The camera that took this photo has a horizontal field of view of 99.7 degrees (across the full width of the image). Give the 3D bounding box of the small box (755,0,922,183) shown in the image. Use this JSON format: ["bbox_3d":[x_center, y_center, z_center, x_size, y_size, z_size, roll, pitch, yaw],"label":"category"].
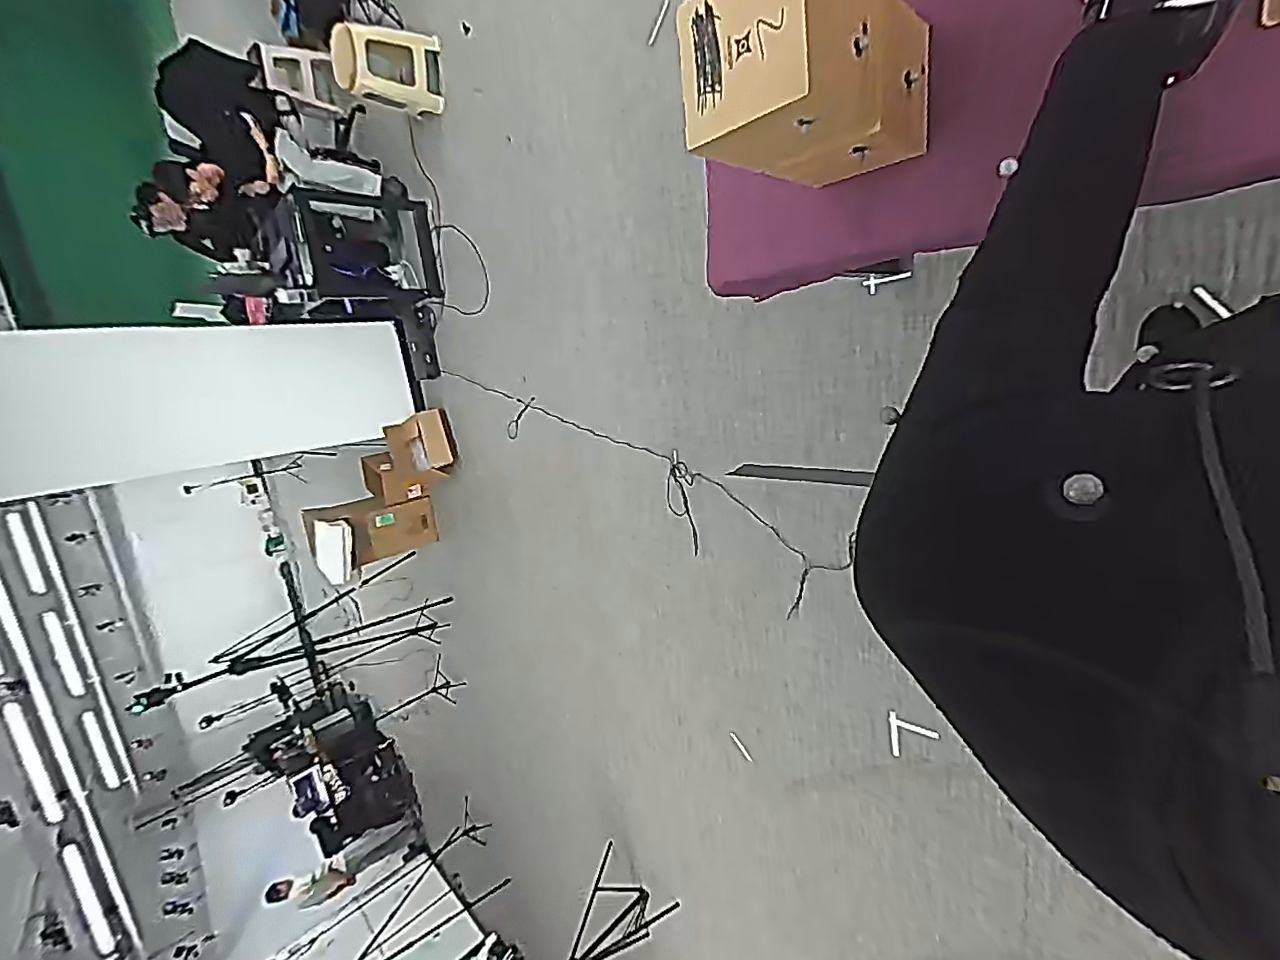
[{"bbox_3d":[0.288,-0.547,0.778,0.179,0.176,0.168,8,109,45],"label":"small box"}]
